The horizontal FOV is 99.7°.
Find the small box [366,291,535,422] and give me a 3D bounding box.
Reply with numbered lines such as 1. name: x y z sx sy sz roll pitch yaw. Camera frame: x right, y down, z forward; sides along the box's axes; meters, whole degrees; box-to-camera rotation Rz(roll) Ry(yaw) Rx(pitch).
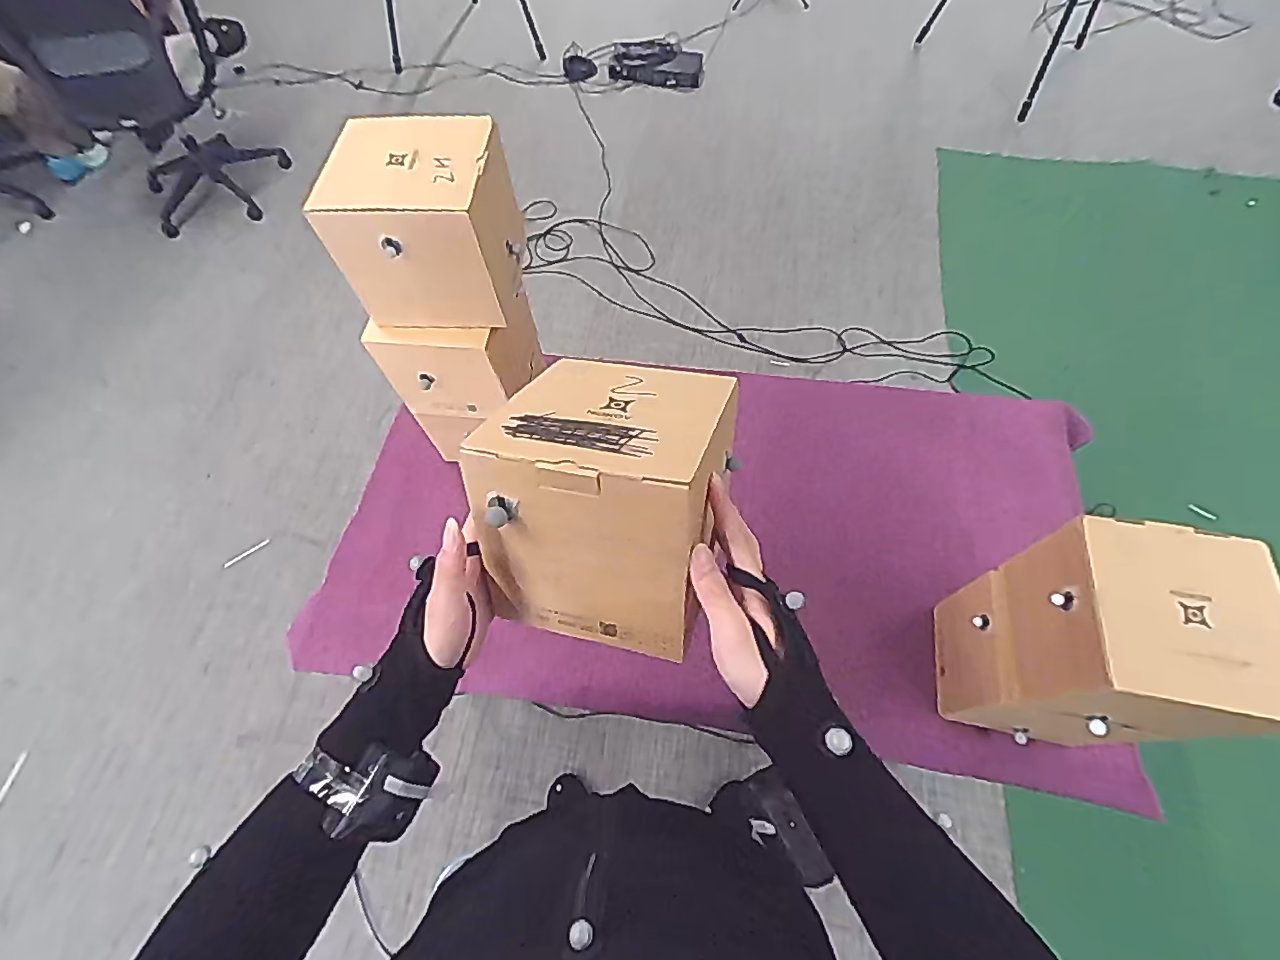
1. small box: -0.261 -0.202 0.795 0.168 0.176 0.179 5 62 4

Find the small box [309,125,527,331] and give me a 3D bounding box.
1. small box: -0.250 -0.300 0.661 0.179 0.176 0.168 2 62 2

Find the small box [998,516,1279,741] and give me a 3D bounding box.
1. small box: 0.512 0.163 0.576 0.168 0.176 0.179 9 62 9

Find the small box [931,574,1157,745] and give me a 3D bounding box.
1. small box: 0.514 0.244 0.718 0.179 0.176 0.168 11 62 7

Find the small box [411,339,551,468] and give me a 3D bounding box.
1. small box: -0.261 -0.132 0.941 0.179 0.176 0.168 4 62 4
